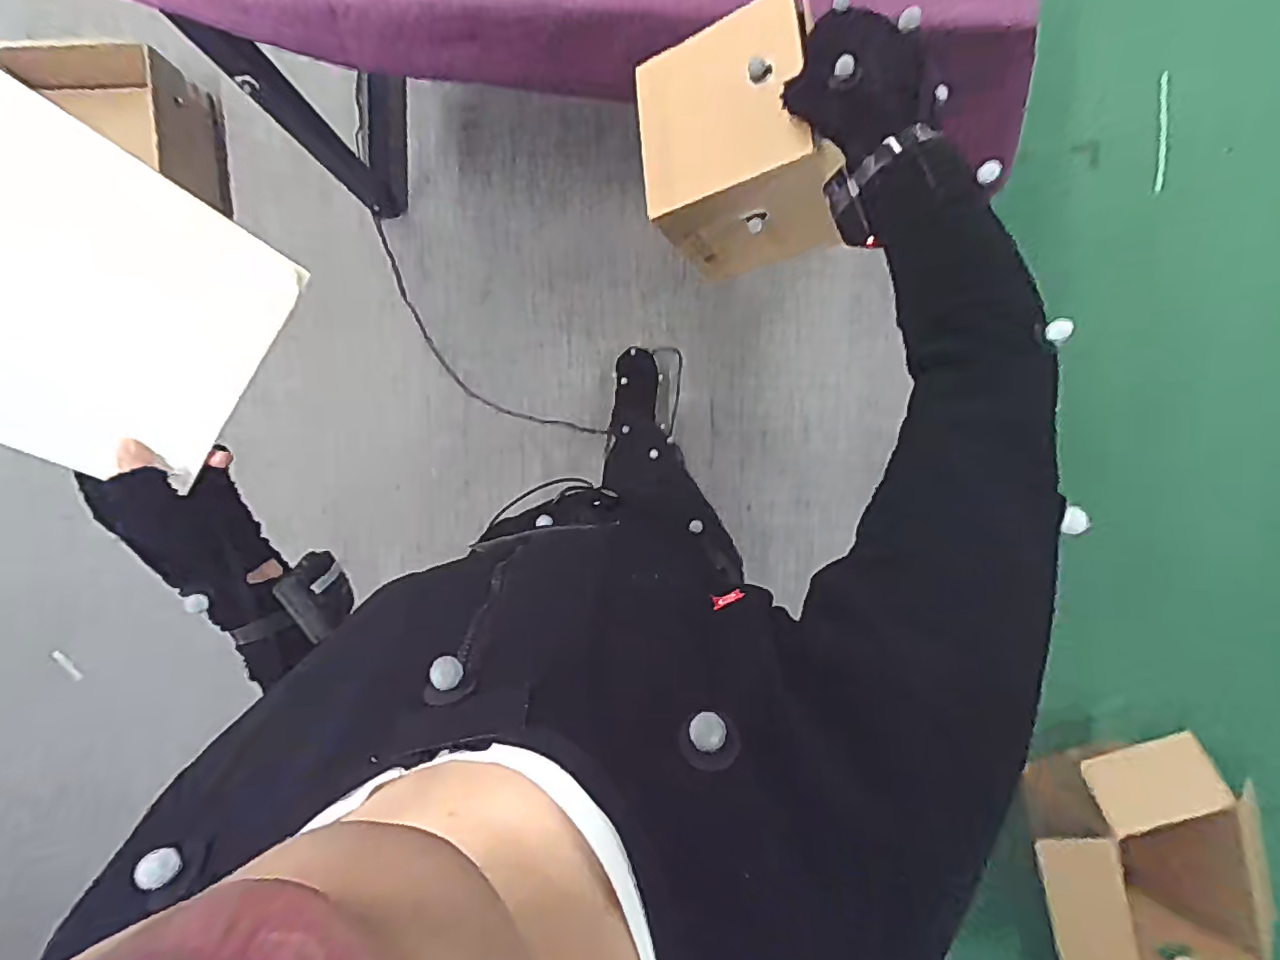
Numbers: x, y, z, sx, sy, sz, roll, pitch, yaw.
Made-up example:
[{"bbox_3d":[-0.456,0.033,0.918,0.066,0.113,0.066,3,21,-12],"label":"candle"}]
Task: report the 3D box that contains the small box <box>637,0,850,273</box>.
[{"bbox_3d":[0.111,-0.350,0.575,0.176,0.168,0.179,-10,80,29],"label":"small box"}]
